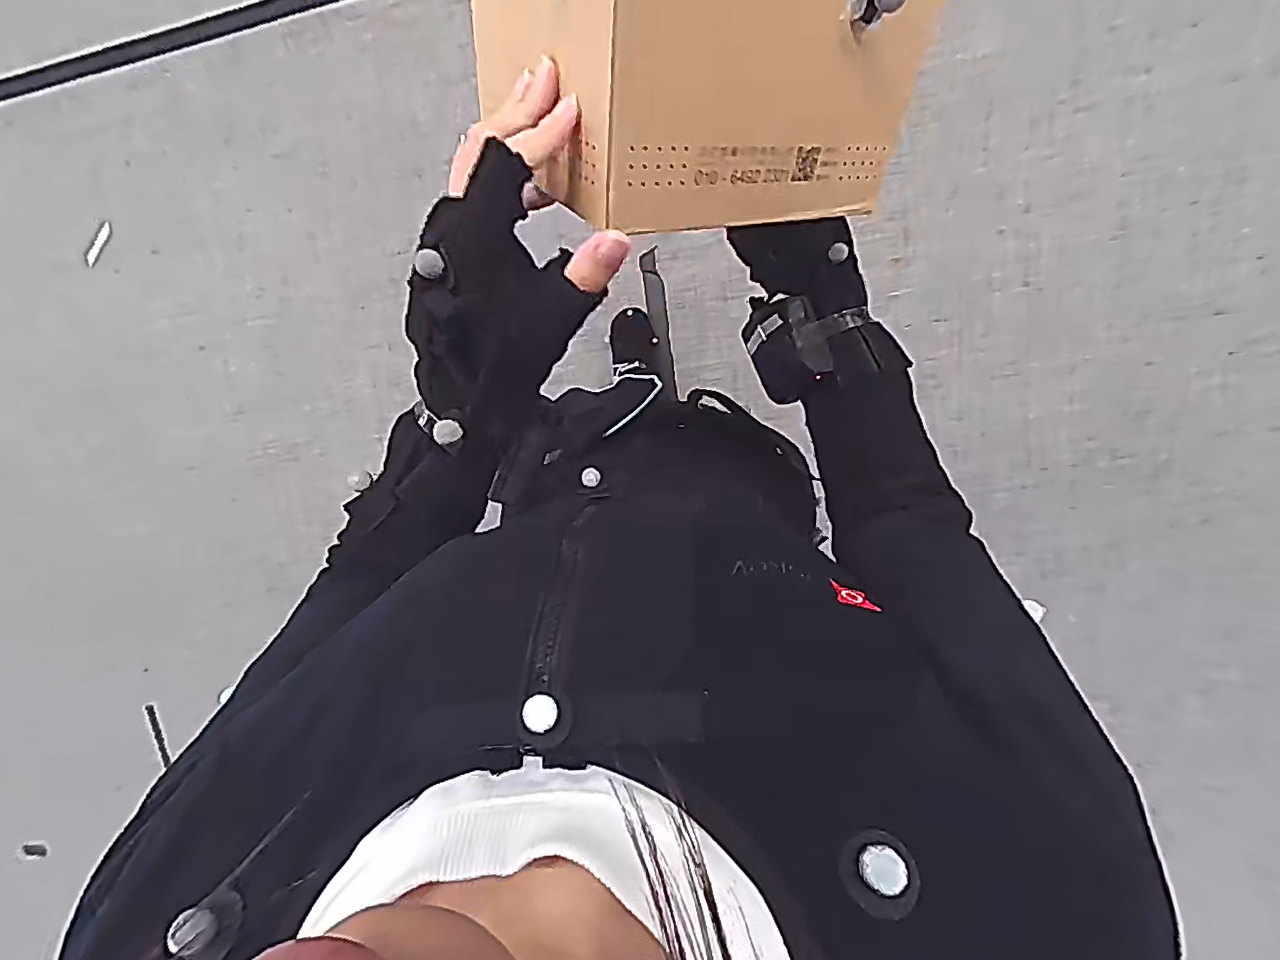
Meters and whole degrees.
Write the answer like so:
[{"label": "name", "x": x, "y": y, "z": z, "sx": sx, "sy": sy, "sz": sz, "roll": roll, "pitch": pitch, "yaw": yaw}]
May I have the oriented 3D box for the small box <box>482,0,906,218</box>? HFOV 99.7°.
[{"label": "small box", "x": 0.020, "y": -0.245, "z": 0.281, "sx": 0.168, "sy": 0.179, "sz": 0.176, "roll": -15, "pitch": 135, "yaw": -24}]
